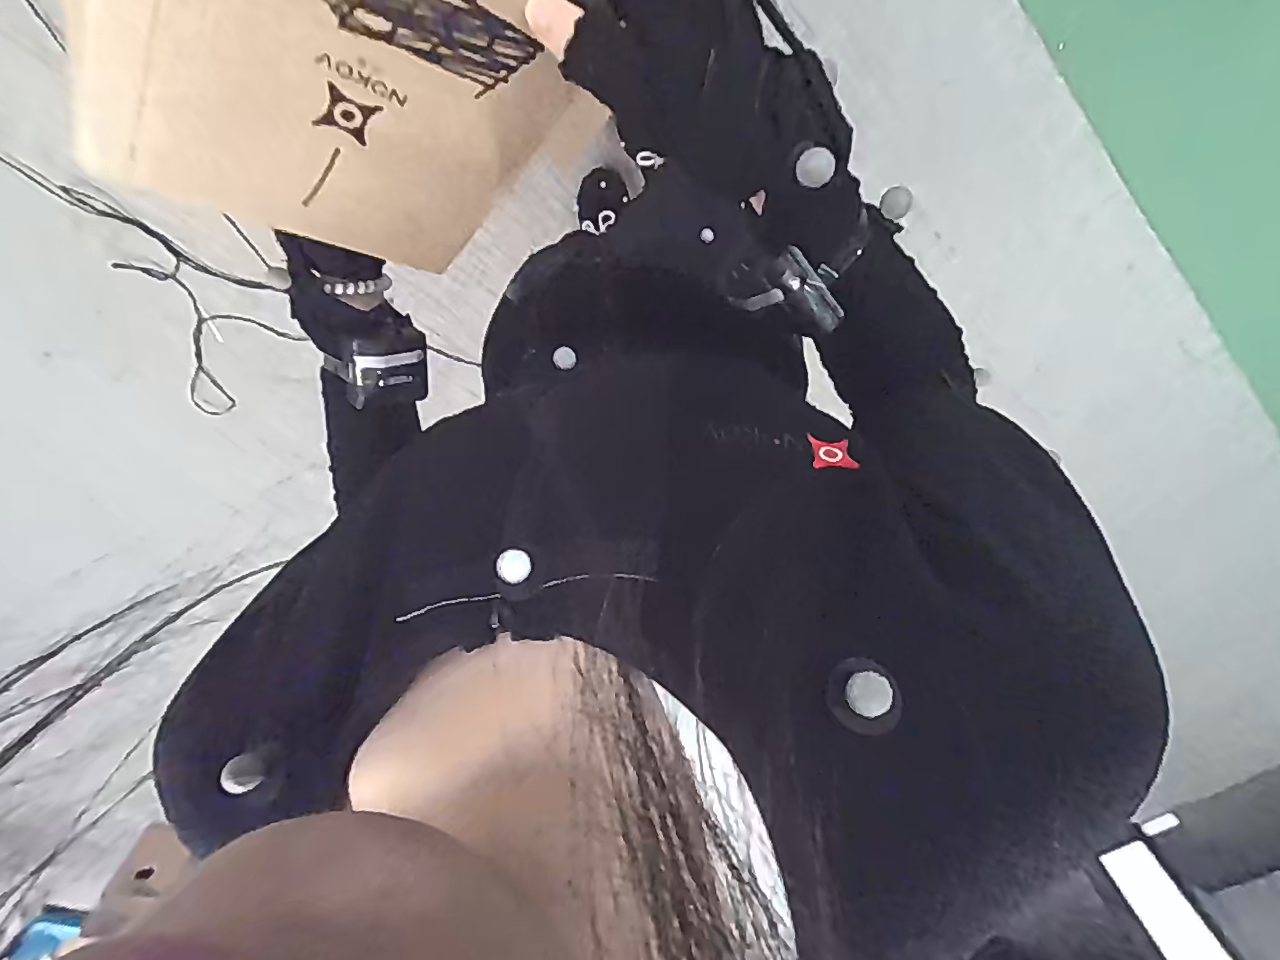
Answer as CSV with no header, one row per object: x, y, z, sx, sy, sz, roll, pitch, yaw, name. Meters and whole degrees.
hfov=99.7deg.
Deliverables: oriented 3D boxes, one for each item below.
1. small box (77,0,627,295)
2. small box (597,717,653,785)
-0.139,-0.226,0.253,0.179,0.176,0.168,-28,161,36,small box
-0.061,1.134,2.265,0.168,0.176,0.179,33,116,-21,small box
